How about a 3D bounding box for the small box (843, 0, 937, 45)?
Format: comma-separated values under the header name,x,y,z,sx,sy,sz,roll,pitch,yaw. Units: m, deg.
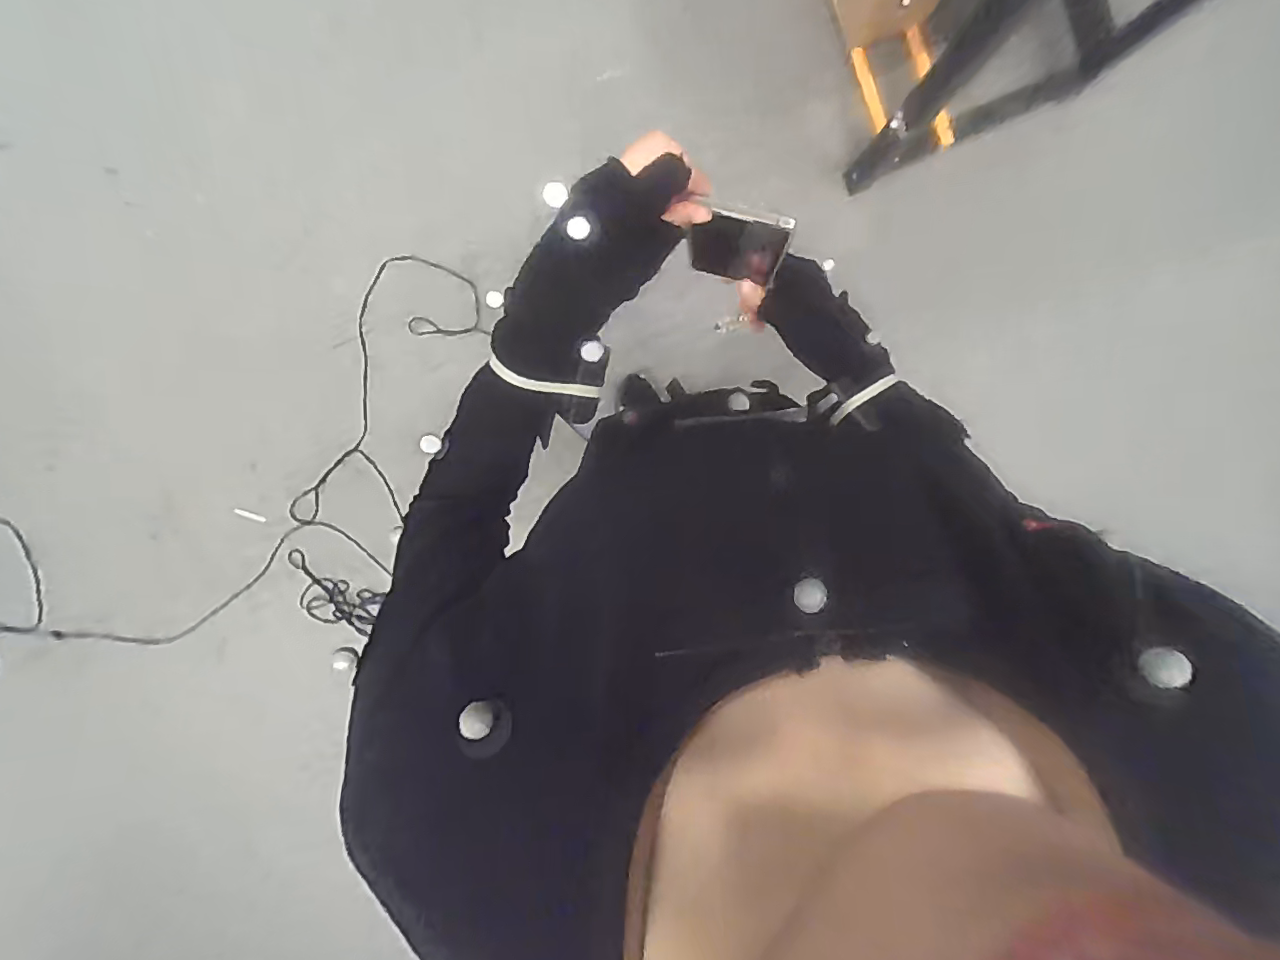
name,x,y,z,sx,sy,sz,roll,pitch,yaw
small box,0.522,-1.050,1.106,0.179,0.176,0.168,-18,97,6
